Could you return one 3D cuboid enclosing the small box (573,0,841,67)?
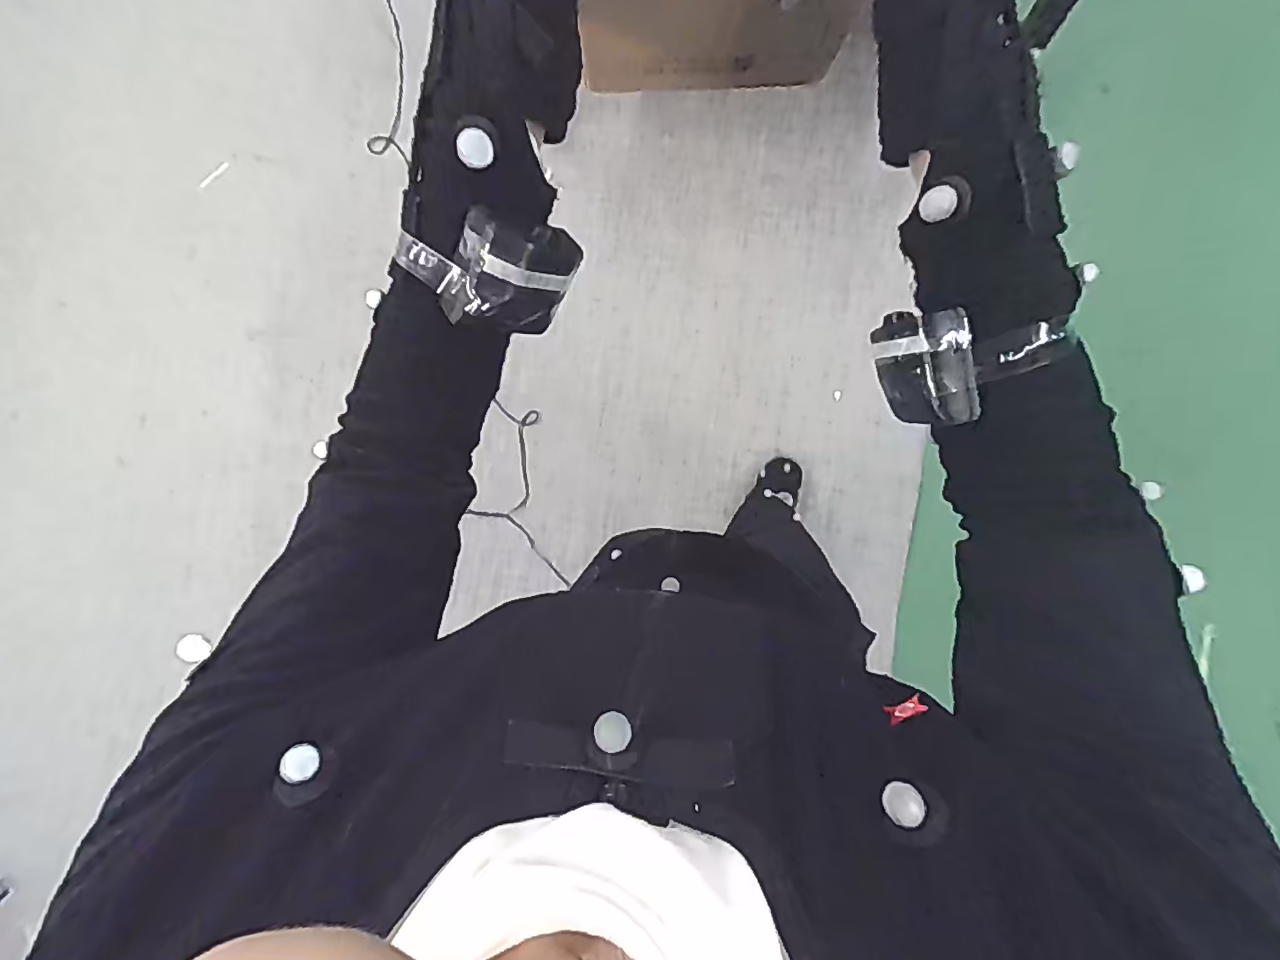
[{"bbox_3d":[0.040,-0.360,0.288,0.168,0.176,0.179,-2,93,-2],"label":"small box"}]
